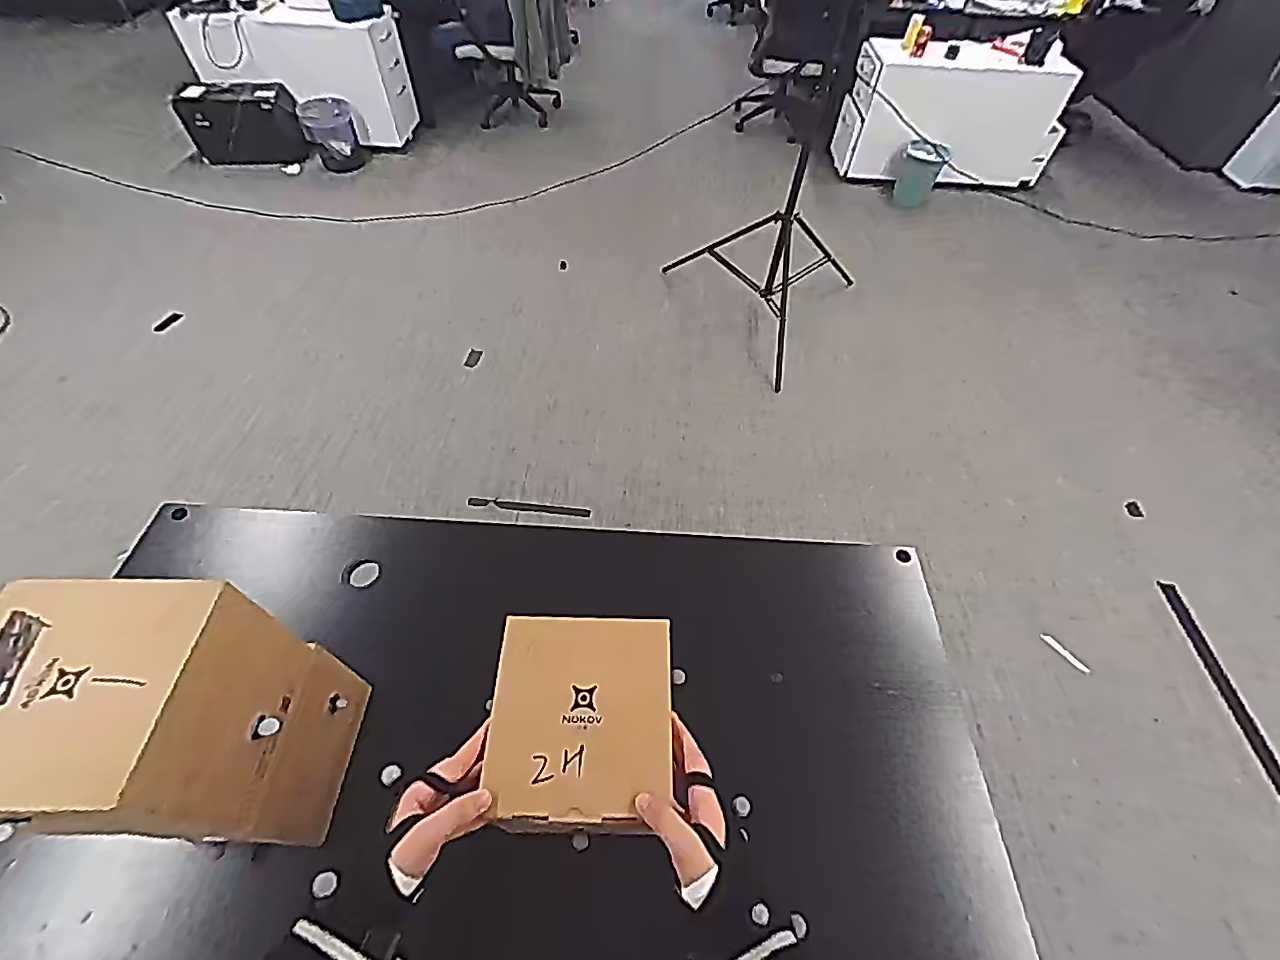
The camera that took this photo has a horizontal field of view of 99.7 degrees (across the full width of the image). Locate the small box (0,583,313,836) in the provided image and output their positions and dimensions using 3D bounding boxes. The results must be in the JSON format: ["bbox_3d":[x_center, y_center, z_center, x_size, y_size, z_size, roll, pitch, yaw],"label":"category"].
[{"bbox_3d":[-0.427,0.200,0.463,0.179,0.176,0.168,0,53,-2],"label":"small box"}]

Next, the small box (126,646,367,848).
[{"bbox_3d":[-0.430,0.295,0.598,0.168,0.176,0.179,1,54,0],"label":"small box"}]
